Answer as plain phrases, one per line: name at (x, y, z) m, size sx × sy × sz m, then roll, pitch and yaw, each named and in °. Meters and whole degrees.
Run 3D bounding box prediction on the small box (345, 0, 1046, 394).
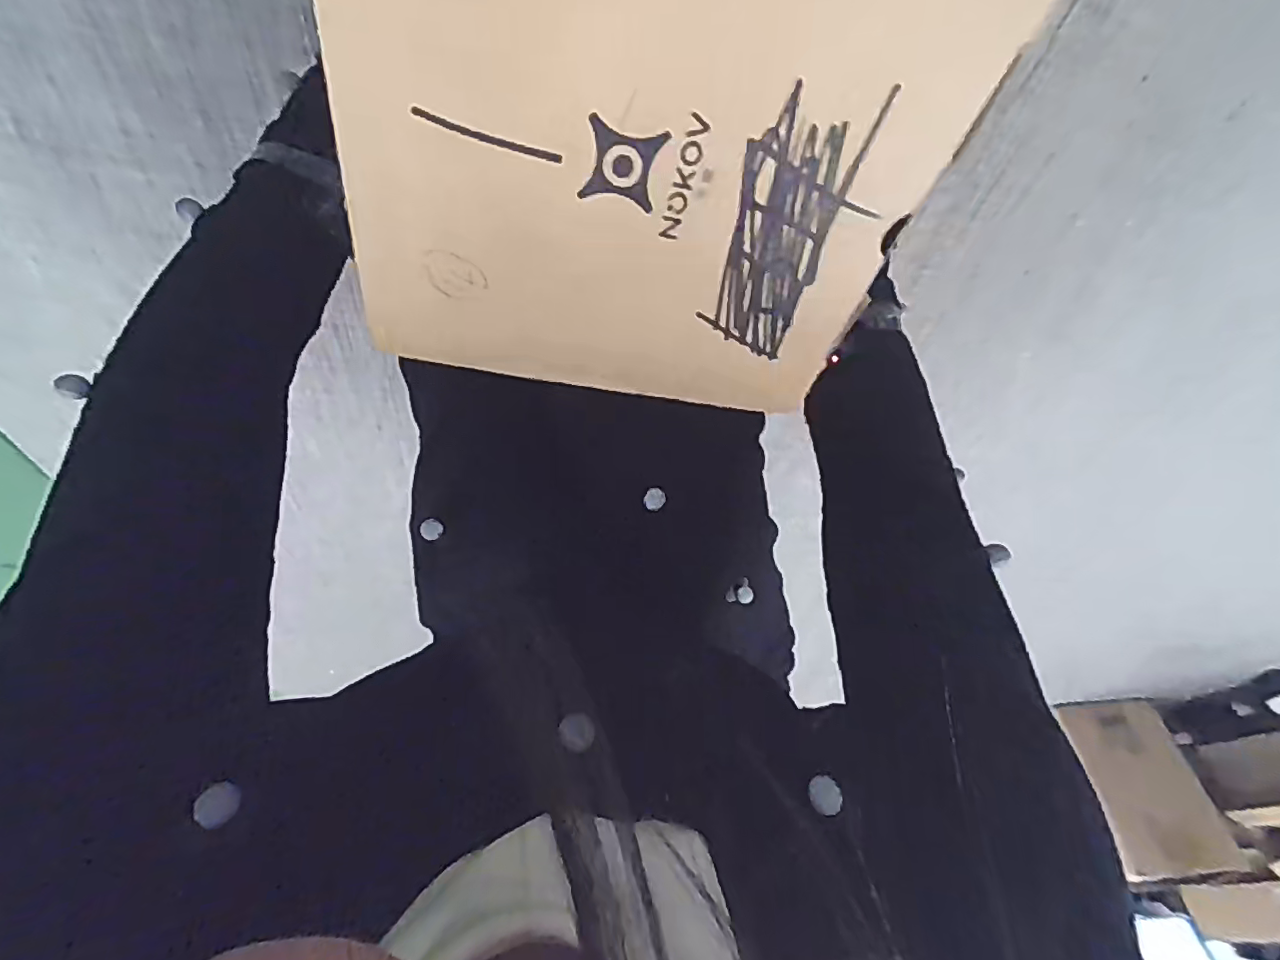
small box at (0.003, -0.157, 0.215) m, size 0.179 × 0.176 × 0.168 m, roll 4°, pitch 141°, yaw -10°
